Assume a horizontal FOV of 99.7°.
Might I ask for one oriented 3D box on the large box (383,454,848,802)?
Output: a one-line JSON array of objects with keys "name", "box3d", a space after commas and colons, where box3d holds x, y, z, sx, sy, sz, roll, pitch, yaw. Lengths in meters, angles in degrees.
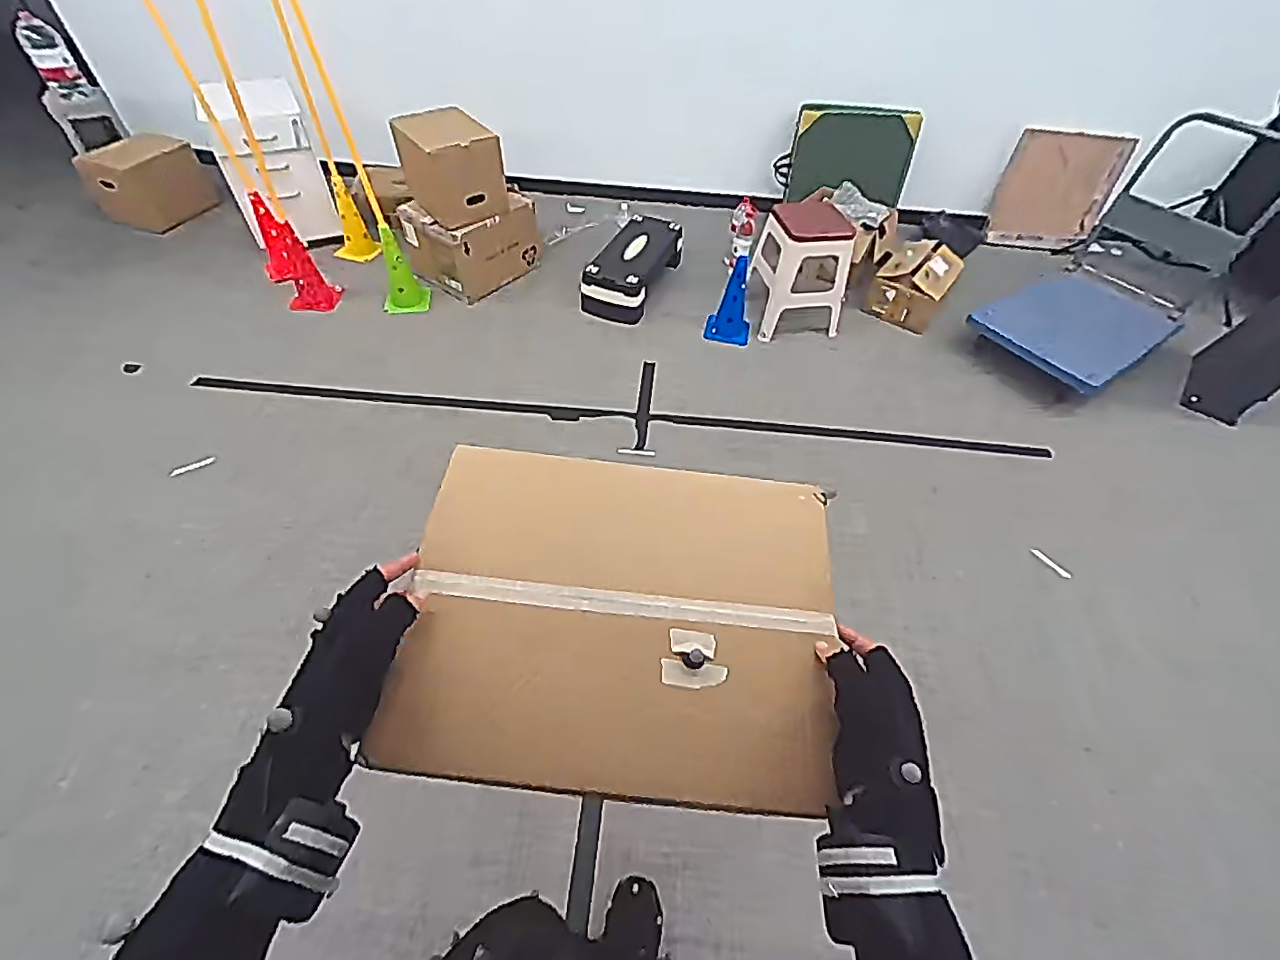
[{"name": "large box", "box3d": [-0.021, 0.196, 0.656, 0.408, 0.320, 0.320, 7, 60, -1]}]
